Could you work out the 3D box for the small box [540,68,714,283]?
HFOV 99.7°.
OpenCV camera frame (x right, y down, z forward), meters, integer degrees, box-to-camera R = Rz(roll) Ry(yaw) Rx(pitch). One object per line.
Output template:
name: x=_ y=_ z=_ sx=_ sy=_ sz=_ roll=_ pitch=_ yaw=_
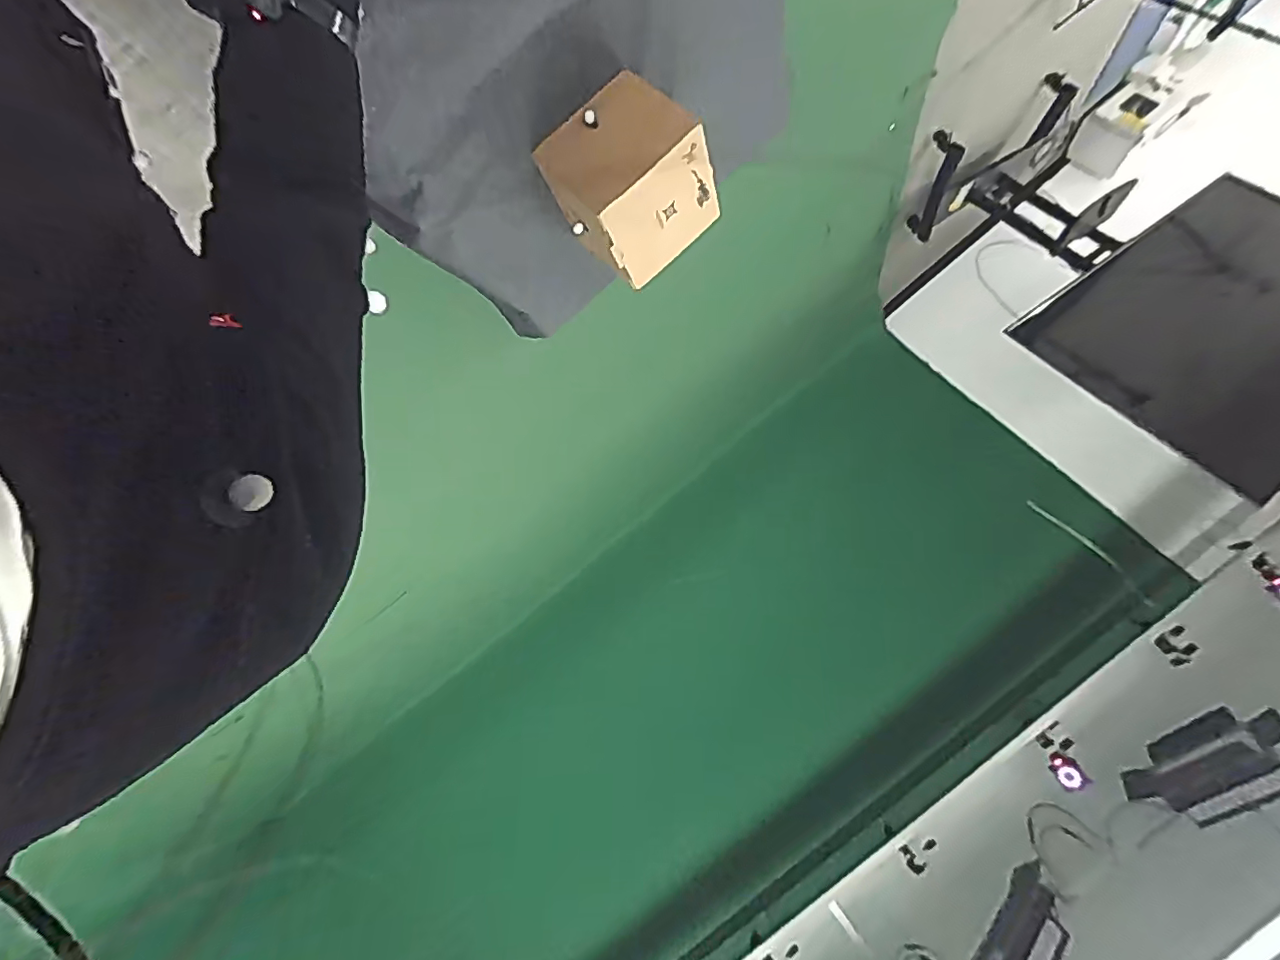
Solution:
small box: x=-0.021 y=-0.435 z=0.783 sx=0.179 sy=0.176 sz=0.168 roll=-41 pitch=158 yaw=2
